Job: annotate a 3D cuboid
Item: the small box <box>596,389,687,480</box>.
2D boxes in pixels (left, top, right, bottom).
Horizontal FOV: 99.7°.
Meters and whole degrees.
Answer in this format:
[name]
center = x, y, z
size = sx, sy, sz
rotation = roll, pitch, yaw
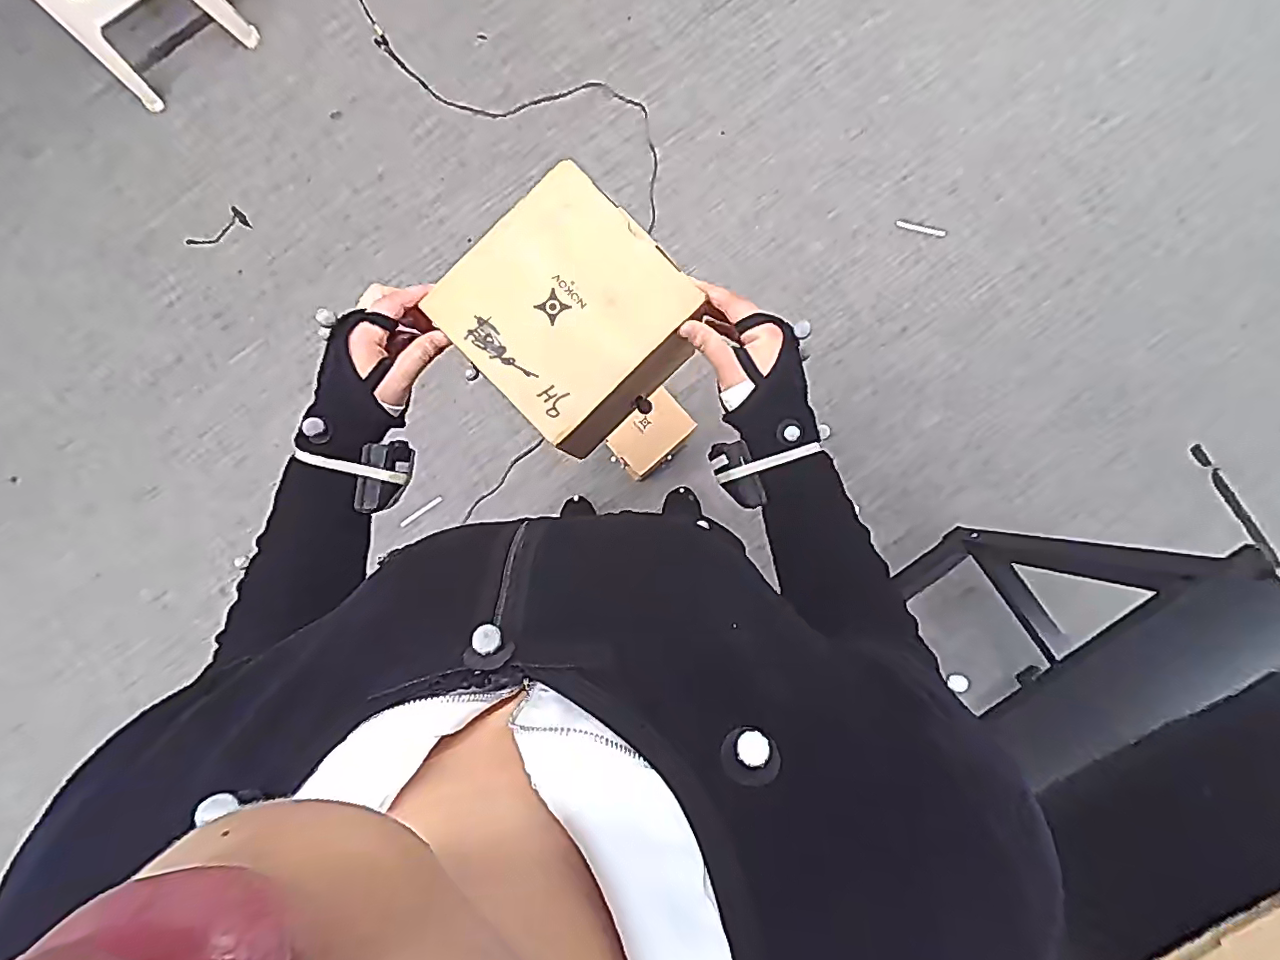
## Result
[small box]
center = 0.003, -0.114, 1.435
size = 0.179, 0.176, 0.168
rotation = -39, 88, 0
